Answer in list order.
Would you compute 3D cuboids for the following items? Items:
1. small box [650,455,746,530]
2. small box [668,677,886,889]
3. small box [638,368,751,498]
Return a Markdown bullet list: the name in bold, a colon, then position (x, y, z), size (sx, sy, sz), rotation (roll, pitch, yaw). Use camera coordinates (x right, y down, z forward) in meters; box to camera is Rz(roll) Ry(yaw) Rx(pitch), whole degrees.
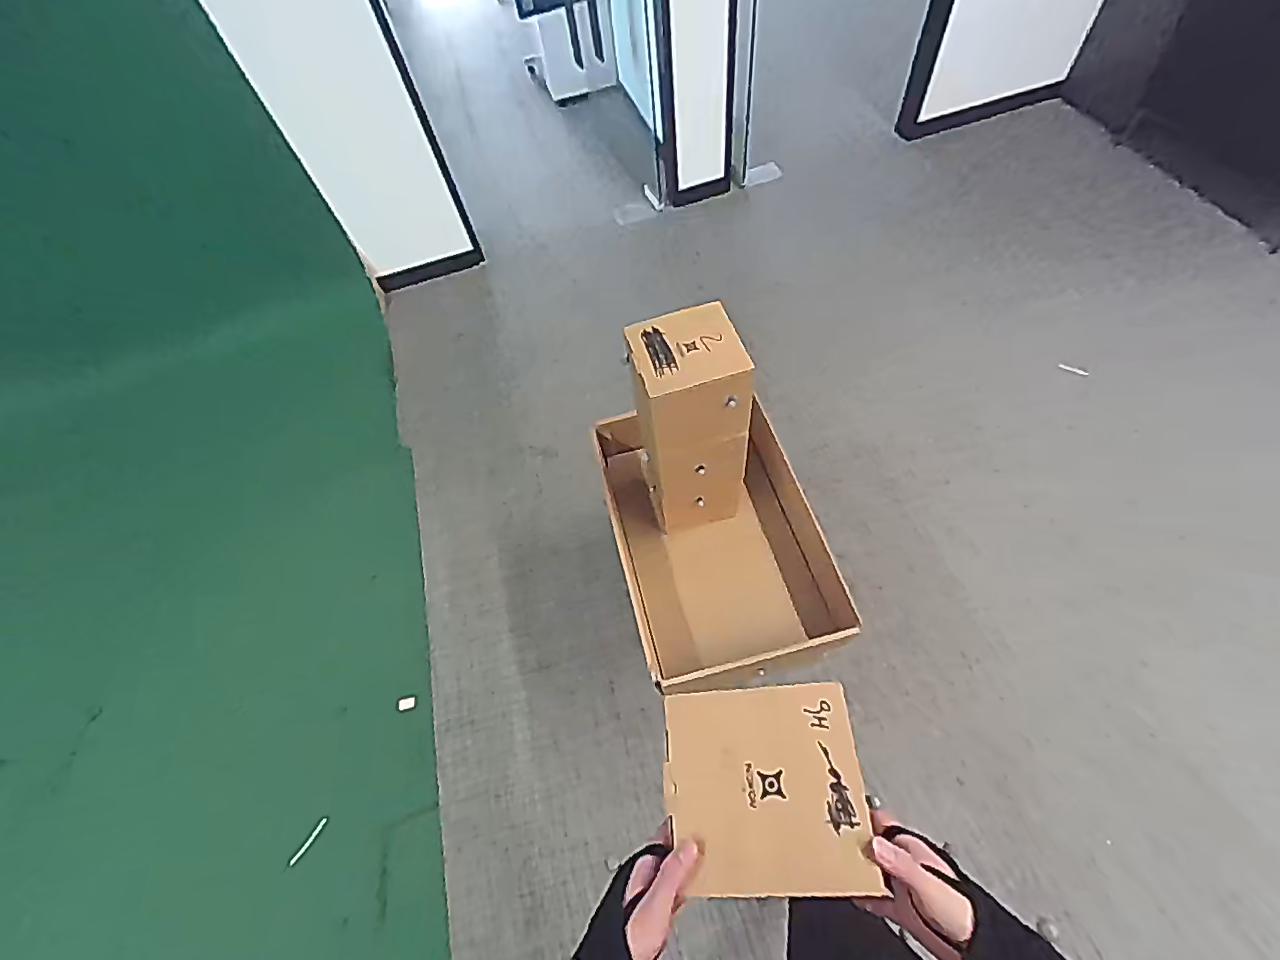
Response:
- **small box**: position (0.124, -0.010, 1.217), size (0.179, 0.176, 0.168), rotation (-15, 59, -2)
- **small box**: position (0.134, 0.307, 0.557), size (0.179, 0.176, 0.168), rotation (-9, 60, 11)
- **small box**: position (0.106, -0.088, 1.075), size (0.179, 0.176, 0.168), rotation (-17, 59, -2)
